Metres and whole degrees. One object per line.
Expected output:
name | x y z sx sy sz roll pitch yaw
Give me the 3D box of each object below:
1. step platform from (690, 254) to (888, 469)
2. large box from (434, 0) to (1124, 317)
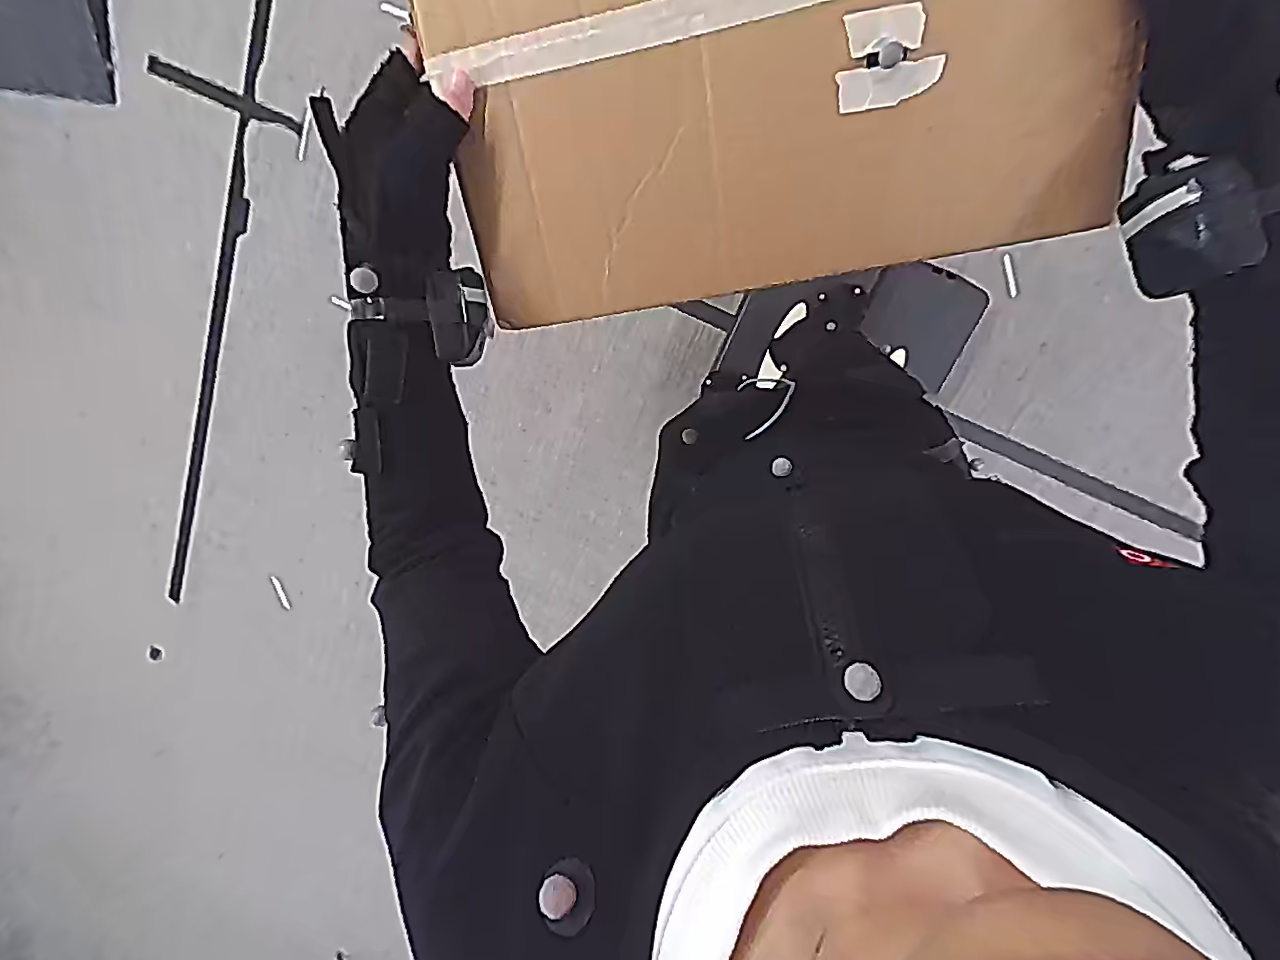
step platform | 0.380 -0.374 1.428 0.286 0.204 0.684 23 105 3
large box | 0.084 -0.342 0.457 0.408 0.320 0.320 -7 112 8
